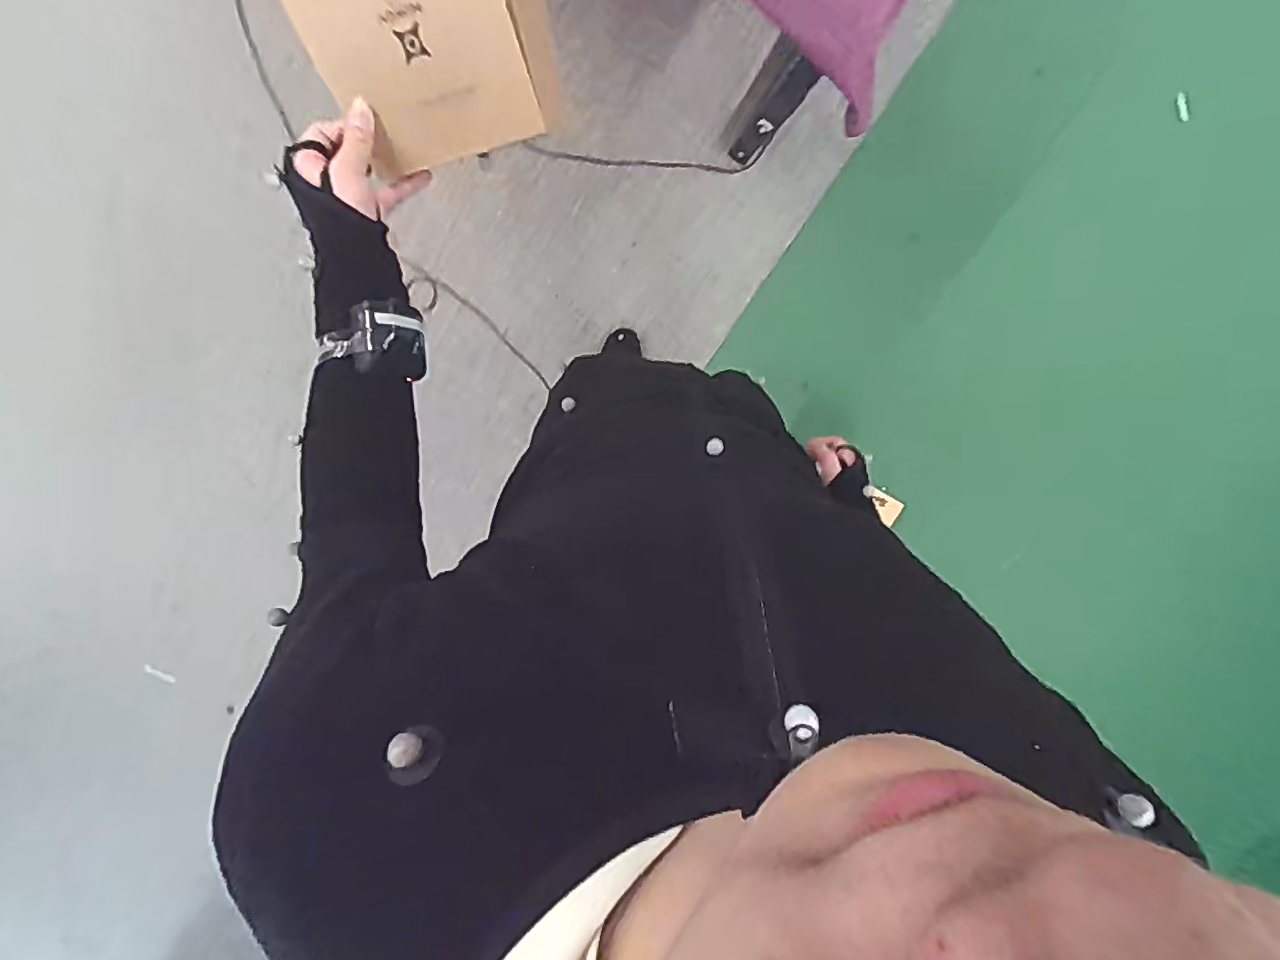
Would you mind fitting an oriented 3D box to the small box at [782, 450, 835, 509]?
[{"bbox_3d":[0.552,0.026,1.610,0.179,0.176,0.168,32,102,-12],"label":"small box"}]

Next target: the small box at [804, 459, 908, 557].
[{"bbox_3d":[0.565,0.071,1.451,0.168,0.176,0.179,29,103,-12],"label":"small box"}]
